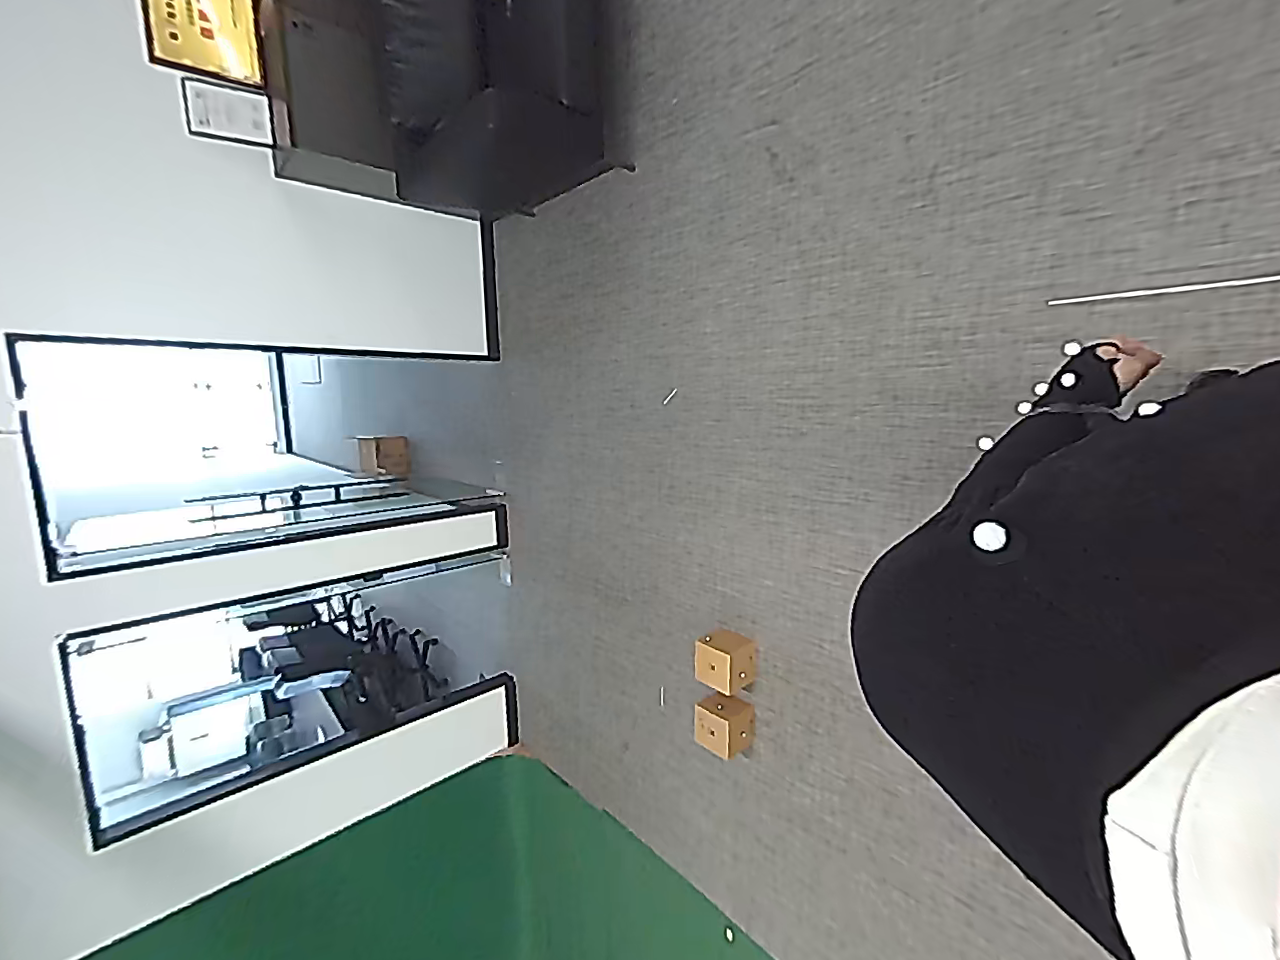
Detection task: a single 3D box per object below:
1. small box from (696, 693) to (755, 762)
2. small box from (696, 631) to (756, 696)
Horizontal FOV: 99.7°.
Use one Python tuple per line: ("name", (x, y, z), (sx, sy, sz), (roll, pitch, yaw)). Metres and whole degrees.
("small box", (0.343, 0.980, 2.162), (0.179, 0.176, 0.168), (9, 102, 47))
("small box", (0.340, 0.715, 2.128), (0.179, 0.176, 0.168), (9, 103, 47))
